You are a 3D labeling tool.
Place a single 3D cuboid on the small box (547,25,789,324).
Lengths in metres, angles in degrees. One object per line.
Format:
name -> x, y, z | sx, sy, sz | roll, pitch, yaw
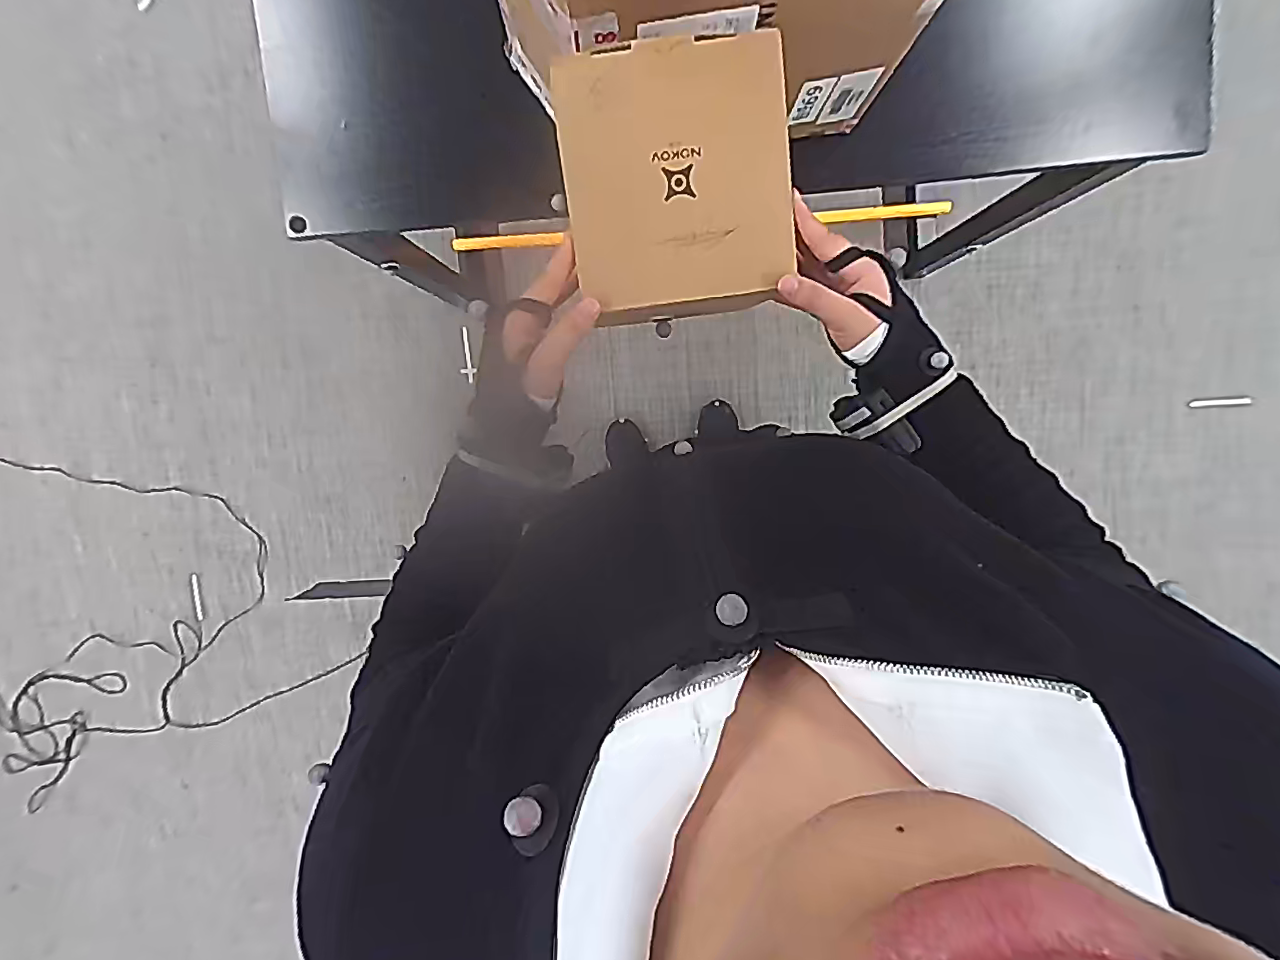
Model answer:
small box -> 0.020, -0.241, 0.471 | 0.168, 0.176, 0.179 | -7, 102, 0
